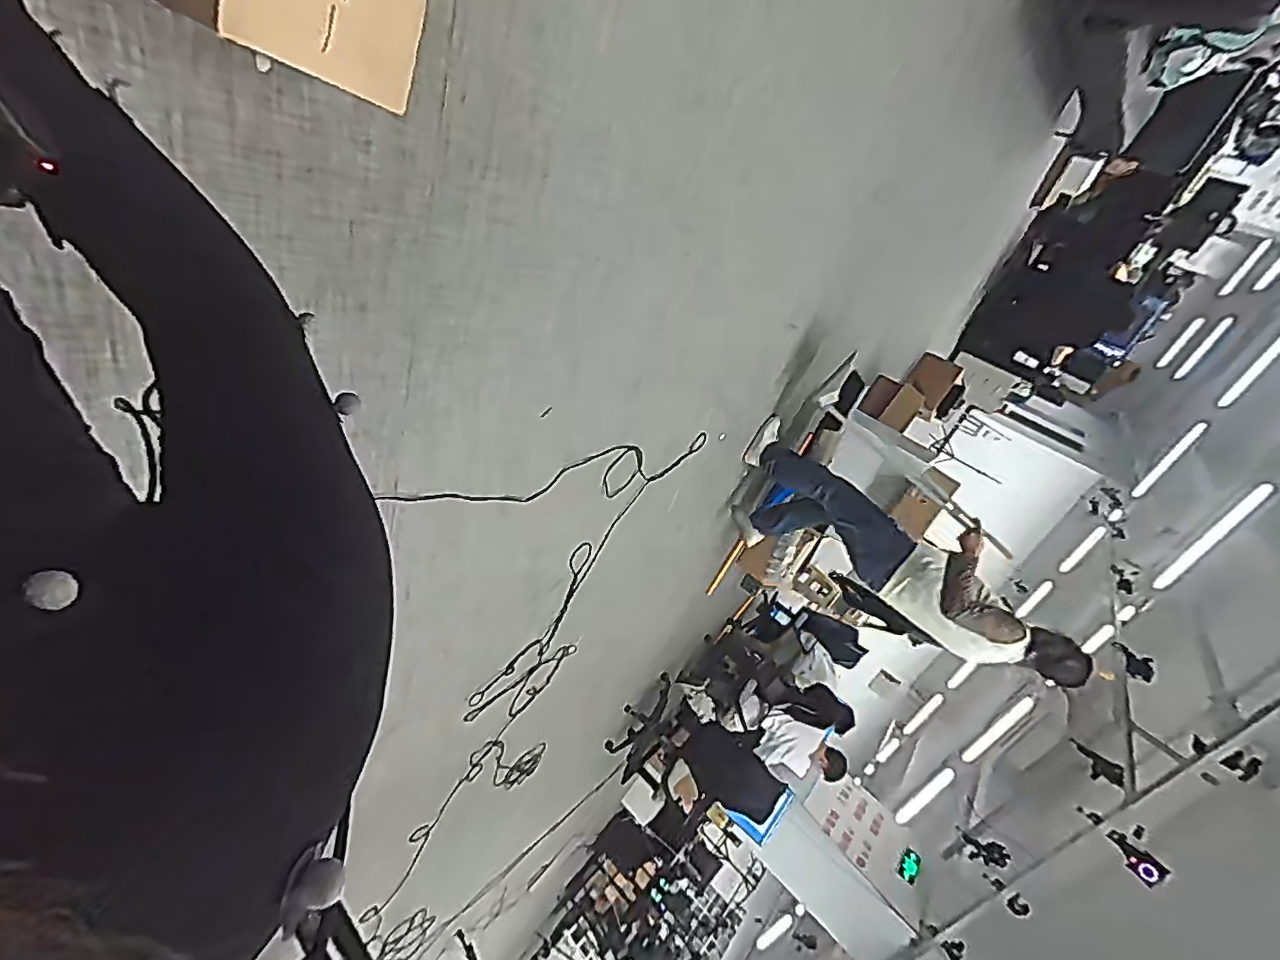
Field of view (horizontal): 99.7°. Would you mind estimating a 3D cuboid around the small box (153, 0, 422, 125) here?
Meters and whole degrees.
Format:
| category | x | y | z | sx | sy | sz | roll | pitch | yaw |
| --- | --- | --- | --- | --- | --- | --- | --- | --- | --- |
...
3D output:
| category | x | y | z | sx | sy | sz | roll | pitch | yaw |
| --- | --- | --- | --- | --- | --- | --- | --- | --- | --- |
| small box | -0.329 | -0.479 | 0.506 | 0.168 | 0.176 | 0.179 | -13 | 134 | -54 |
